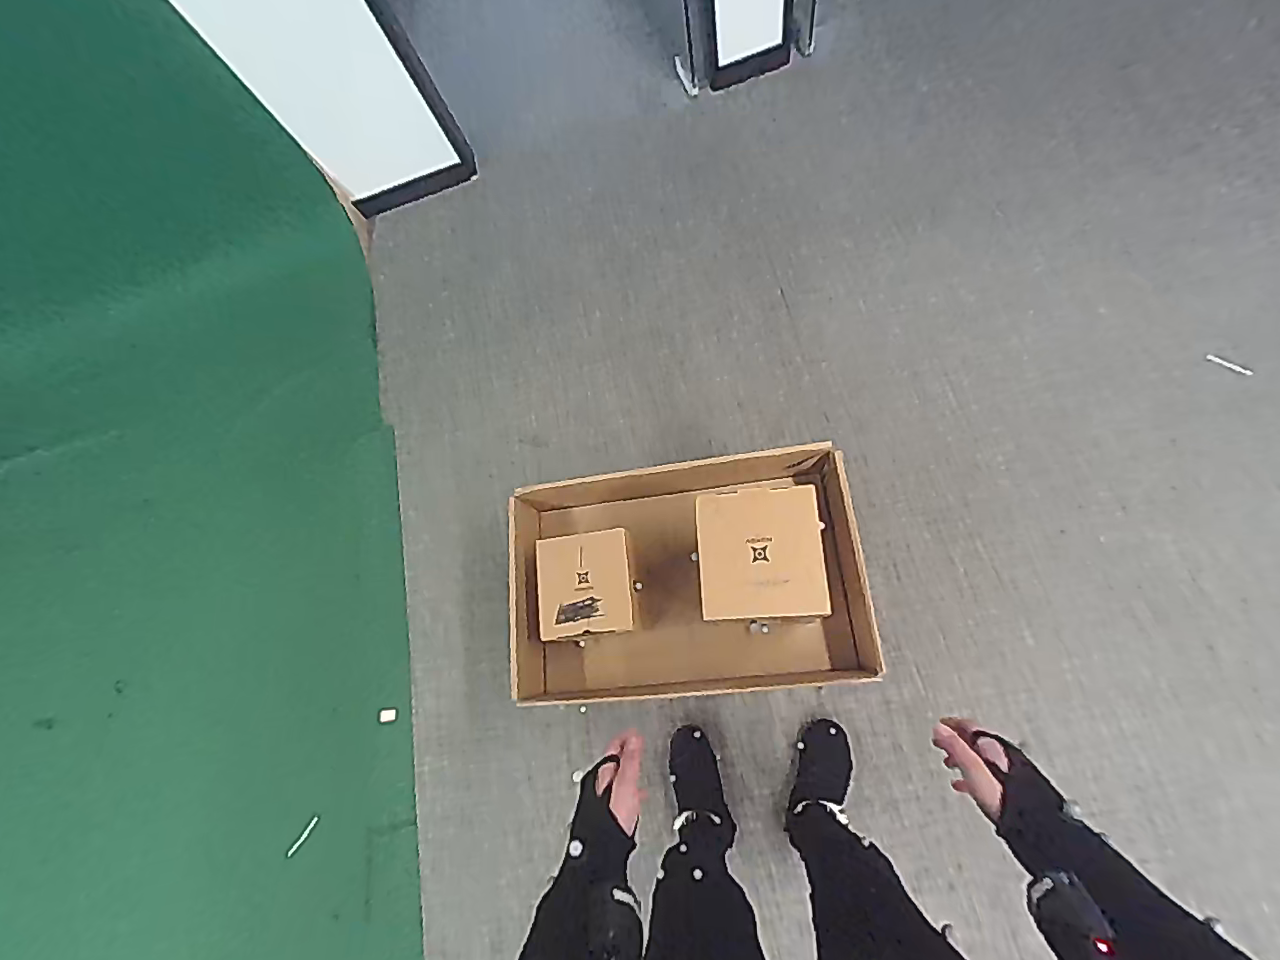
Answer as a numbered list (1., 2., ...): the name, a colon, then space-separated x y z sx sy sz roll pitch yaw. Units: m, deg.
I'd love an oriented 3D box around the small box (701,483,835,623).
1. small box: 0.179 0.114 0.793 0.168 0.176 0.179 -5 73 11
